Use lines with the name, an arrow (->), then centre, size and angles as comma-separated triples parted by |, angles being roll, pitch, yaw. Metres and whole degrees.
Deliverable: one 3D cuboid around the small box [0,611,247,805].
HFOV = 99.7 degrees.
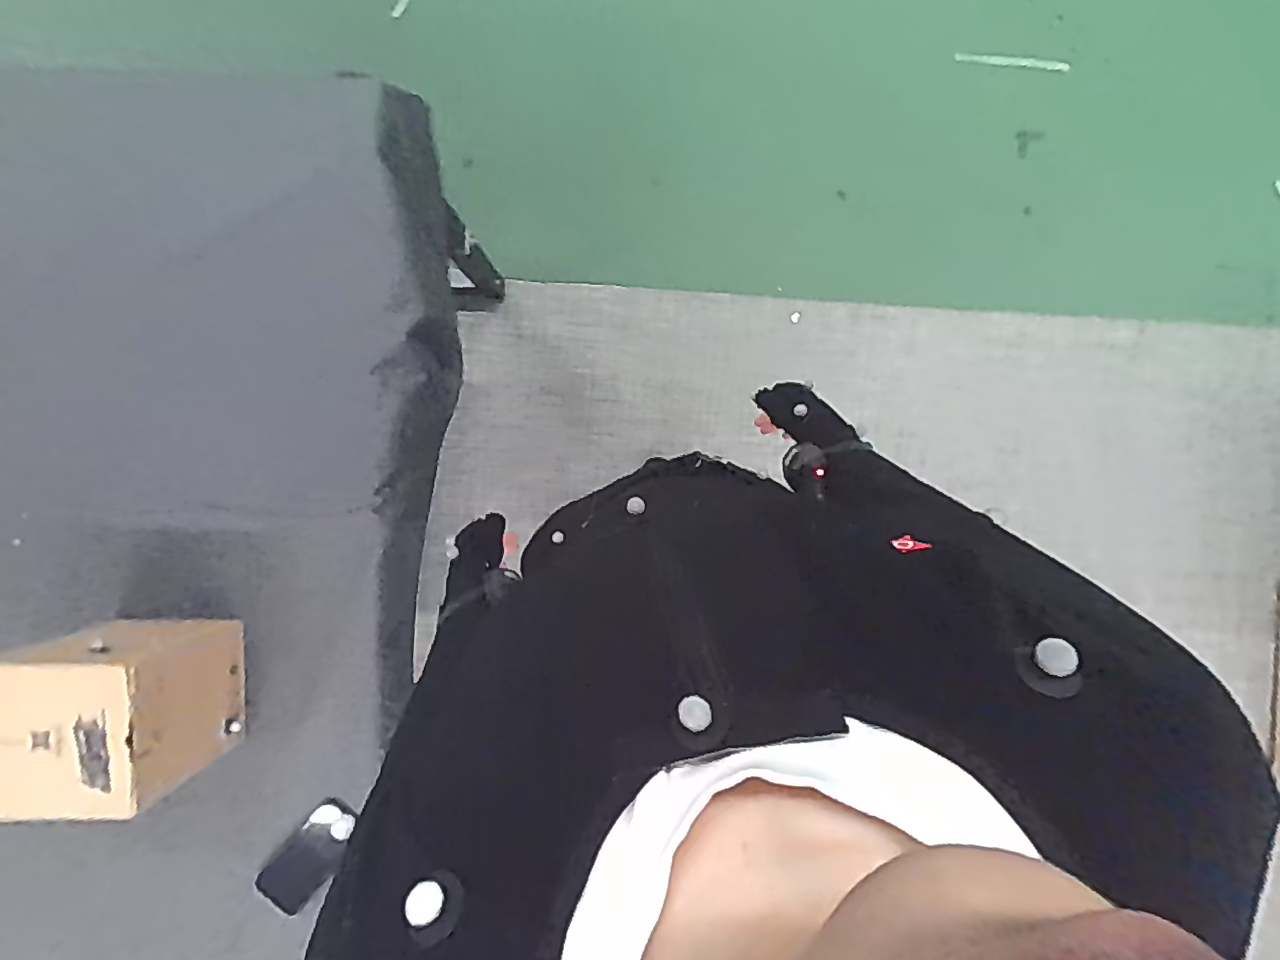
small box -> -0.615, 0.262, 0.656 | 0.179, 0.176, 0.168 | 0, 92, 0
